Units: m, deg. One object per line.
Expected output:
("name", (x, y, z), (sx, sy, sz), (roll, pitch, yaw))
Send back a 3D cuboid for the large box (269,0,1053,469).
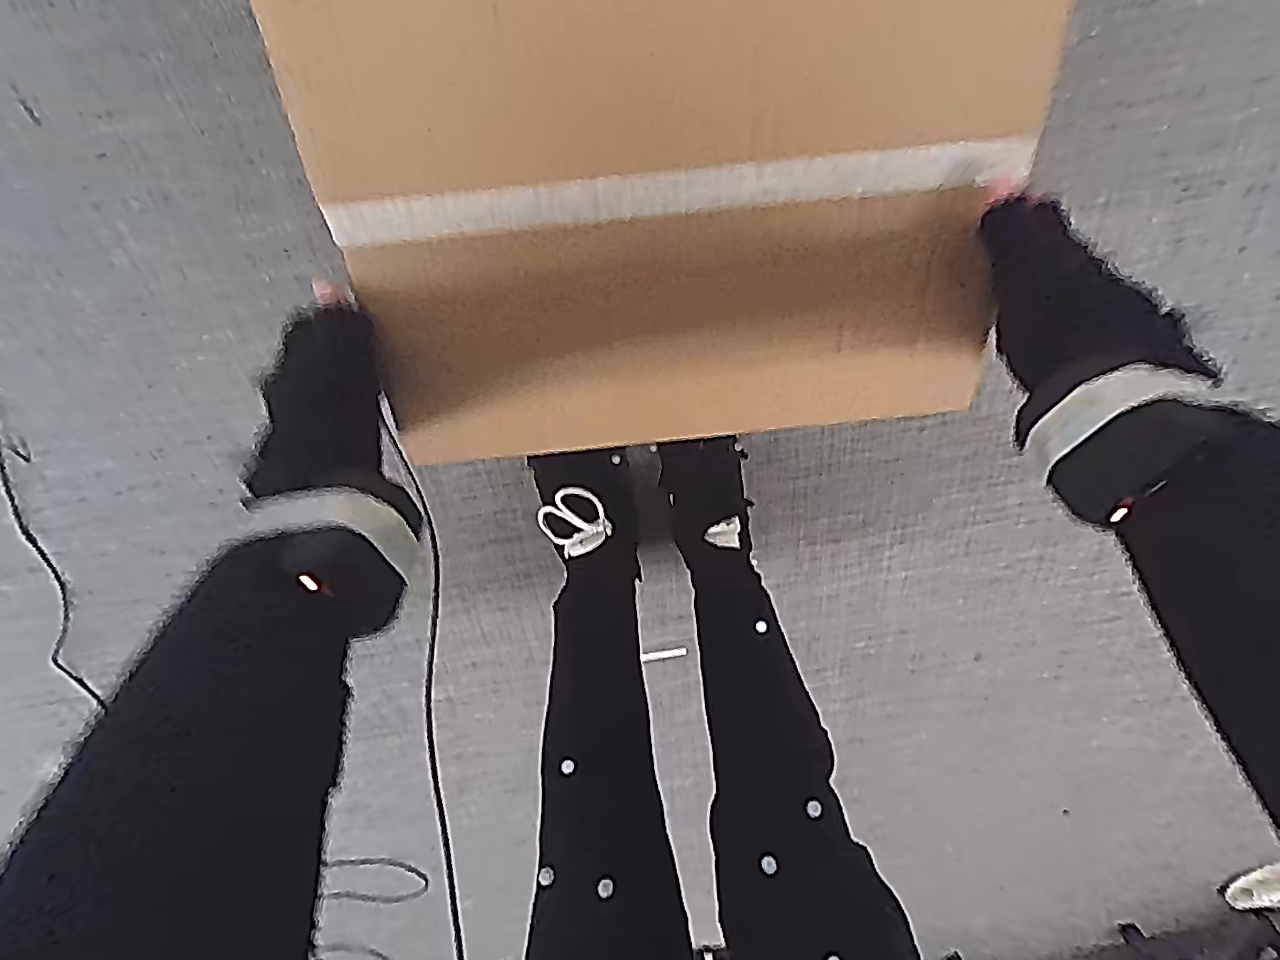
("large box", (0.014, -0.235, 0.448), (0.408, 0.320, 0.320), (-6, 121, -1))
